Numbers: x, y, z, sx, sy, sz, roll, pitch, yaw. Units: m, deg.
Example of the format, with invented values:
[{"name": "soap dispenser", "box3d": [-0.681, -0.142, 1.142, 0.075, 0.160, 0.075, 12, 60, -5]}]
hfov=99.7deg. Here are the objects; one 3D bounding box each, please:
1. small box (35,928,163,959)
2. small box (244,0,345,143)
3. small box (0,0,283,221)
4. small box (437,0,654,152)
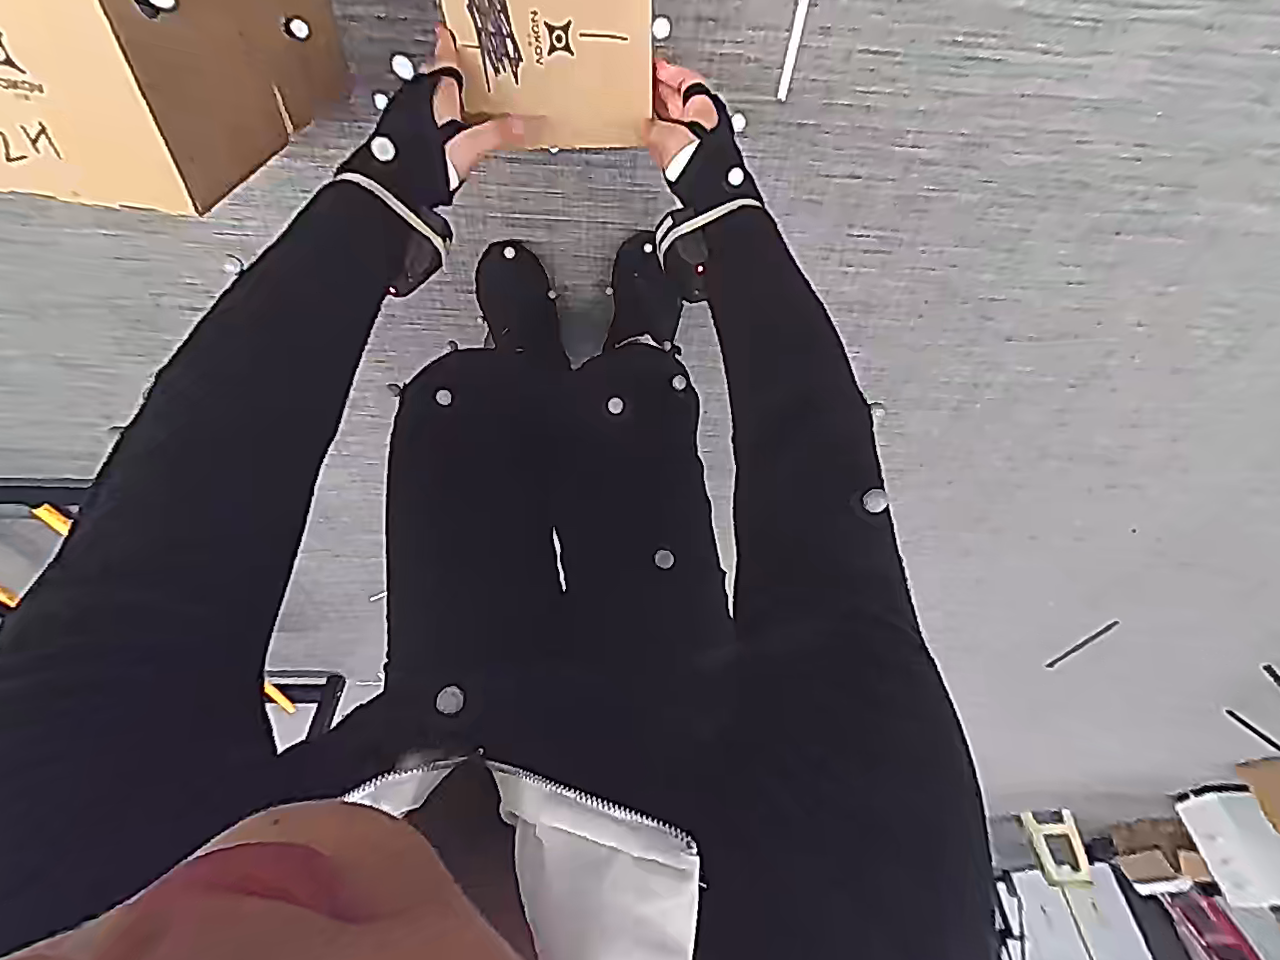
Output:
[{"name": "small box", "box3d": [-1.276, 1.149, 1.246, 0.179, 0.176, 0.168, -2, 140, 1]}, {"name": "small box", "box3d": [-0.411, -0.450, 0.510, 0.168, 0.176, 0.179, 2, 140, -3]}, {"name": "small box", "box3d": [-0.408, -0.326, 0.400, 0.168, 0.176, 0.179, 6, 139, -6]}, {"name": "small box", "box3d": [-0.076, -0.427, 0.513, 0.179, 0.176, 0.168, 0, 136, 1]}]
